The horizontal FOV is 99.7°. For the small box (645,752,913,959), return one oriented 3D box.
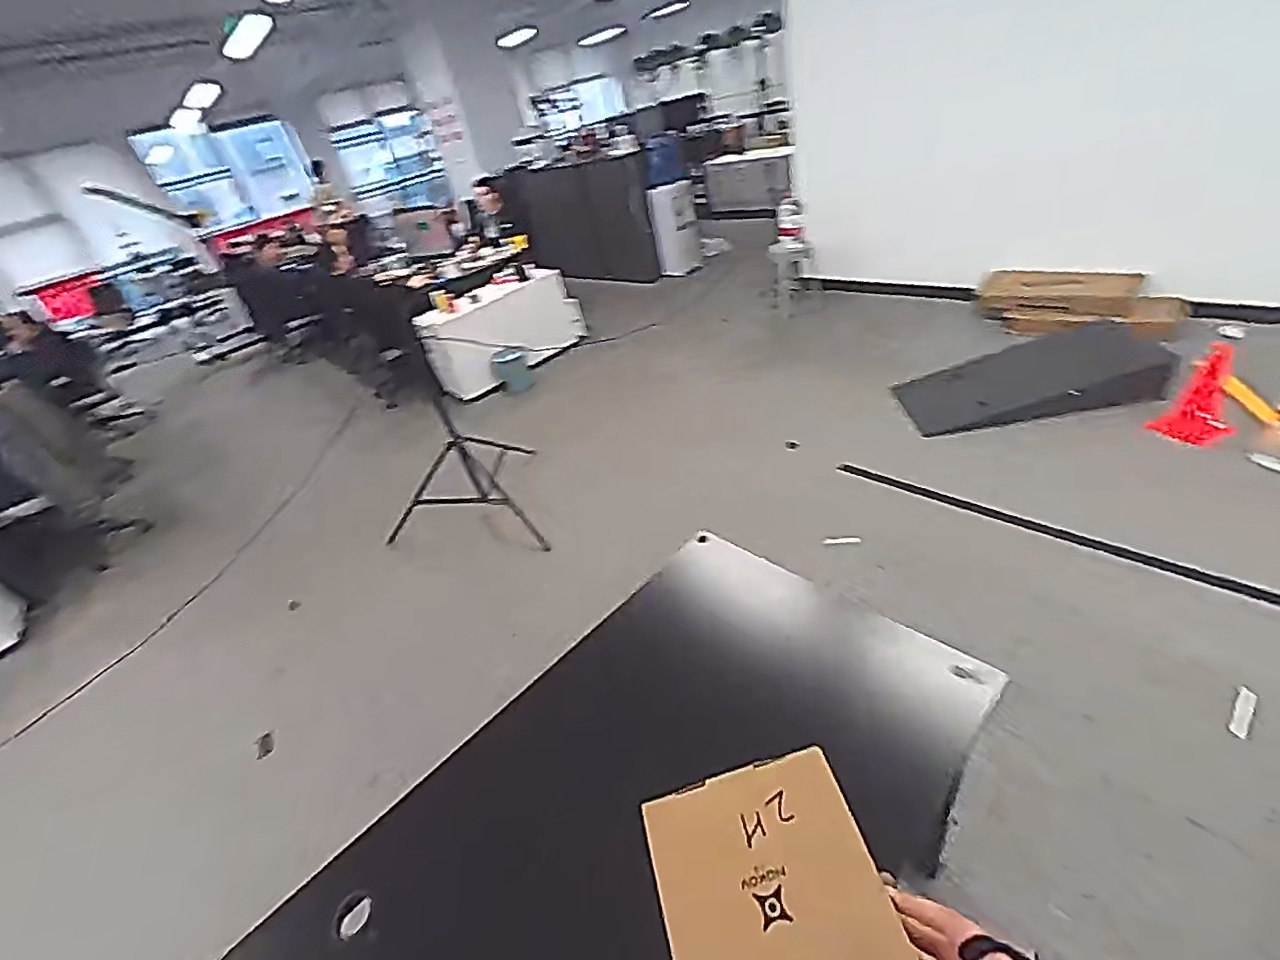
[{"bbox_3d":[0.116,0.370,0.460,0.168,0.176,0.179,-18,42,0],"label":"small box"}]
